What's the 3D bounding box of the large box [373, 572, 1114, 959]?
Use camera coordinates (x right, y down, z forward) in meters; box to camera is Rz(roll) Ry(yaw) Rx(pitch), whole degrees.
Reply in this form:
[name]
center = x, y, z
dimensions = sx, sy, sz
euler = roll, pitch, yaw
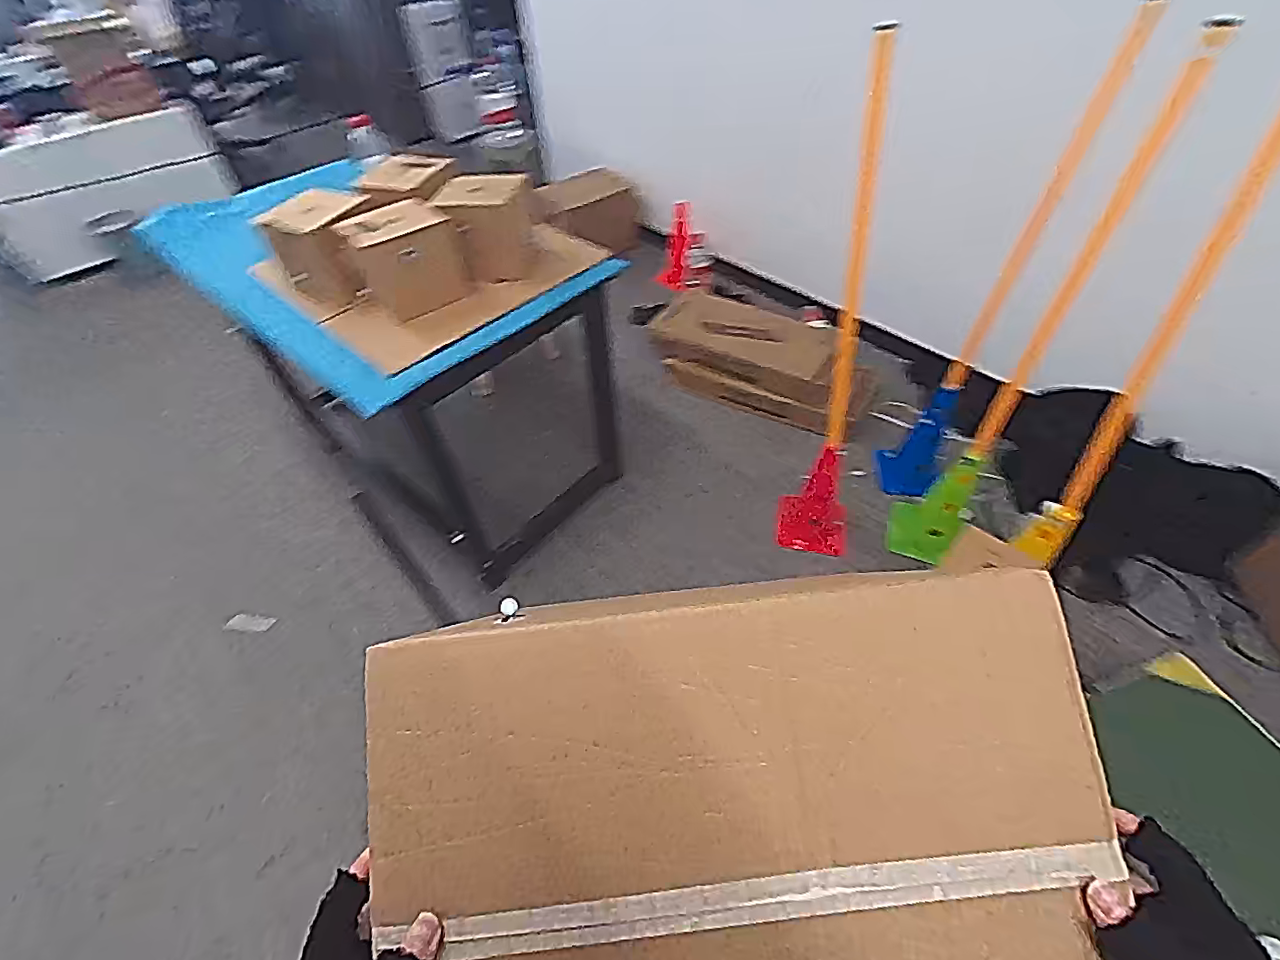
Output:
[large box]
center = 0.055, 0.262, 0.449
dimensions = 0.408, 0.320, 0.320
euler = -8, 80, -1
